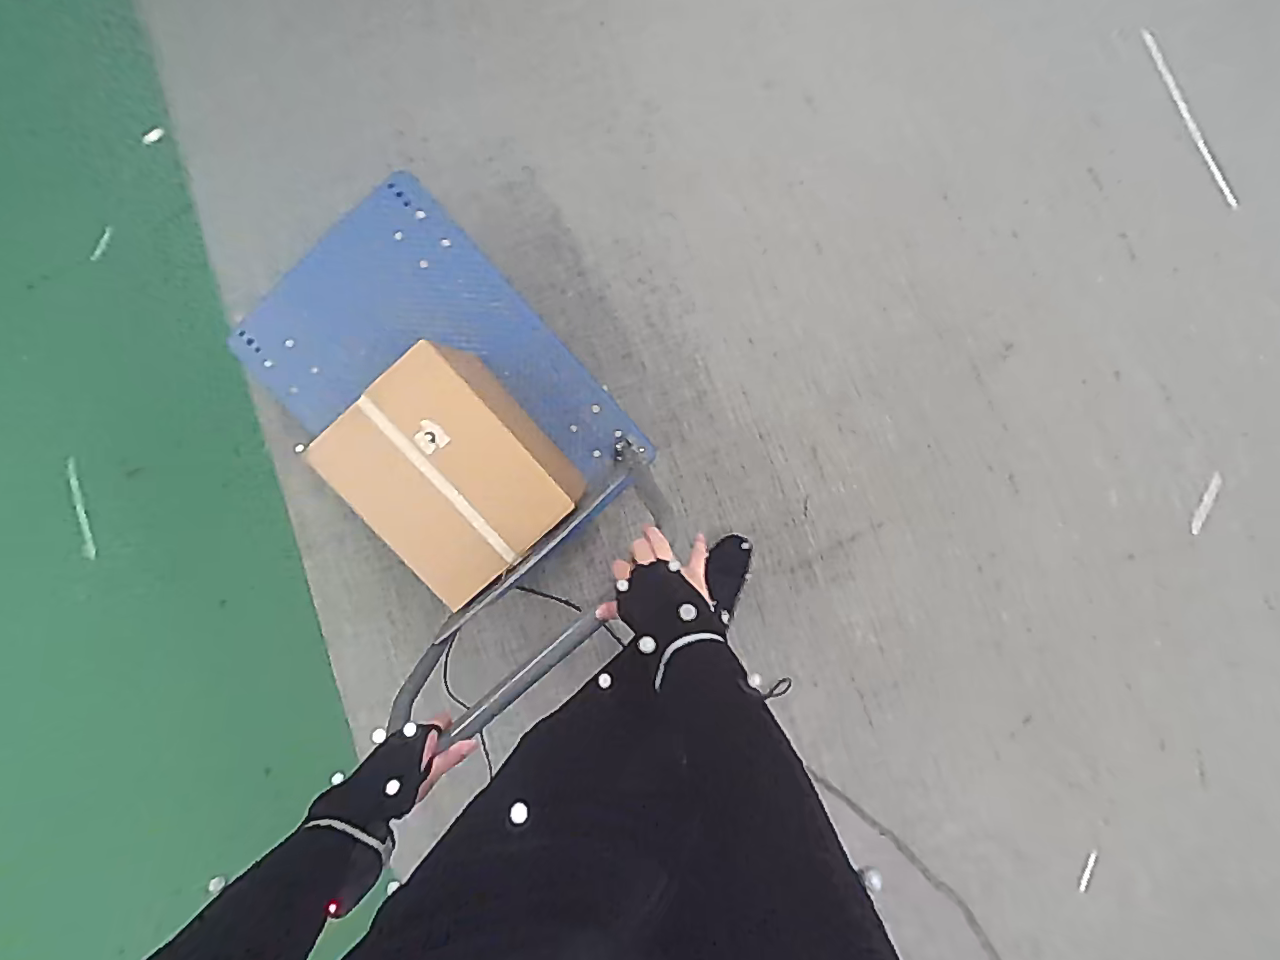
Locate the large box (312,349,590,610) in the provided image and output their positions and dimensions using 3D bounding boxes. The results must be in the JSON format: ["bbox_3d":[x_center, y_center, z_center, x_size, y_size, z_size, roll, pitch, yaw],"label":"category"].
[{"bbox_3d":[-0.358,-0.010,1.142,0.320,0.320,0.408,-42,95,3],"label":"large box"}]
